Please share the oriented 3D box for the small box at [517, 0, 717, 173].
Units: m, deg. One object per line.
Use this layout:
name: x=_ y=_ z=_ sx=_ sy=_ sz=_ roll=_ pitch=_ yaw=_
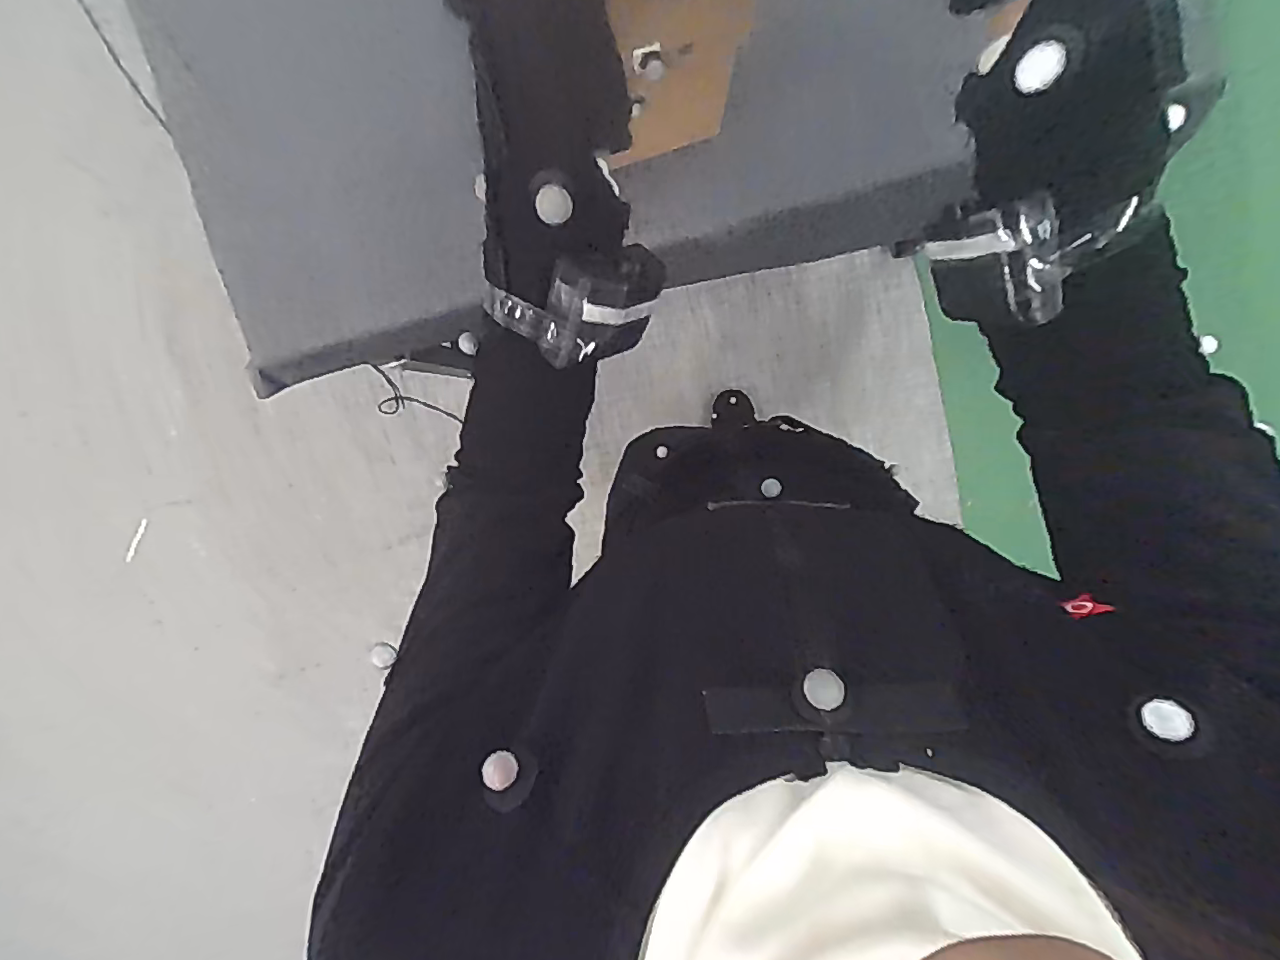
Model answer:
small box: x=-0.020 y=-0.457 z=0.567 sx=0.179 sy=0.176 sz=0.168 roll=-15 pitch=96 yaw=4
